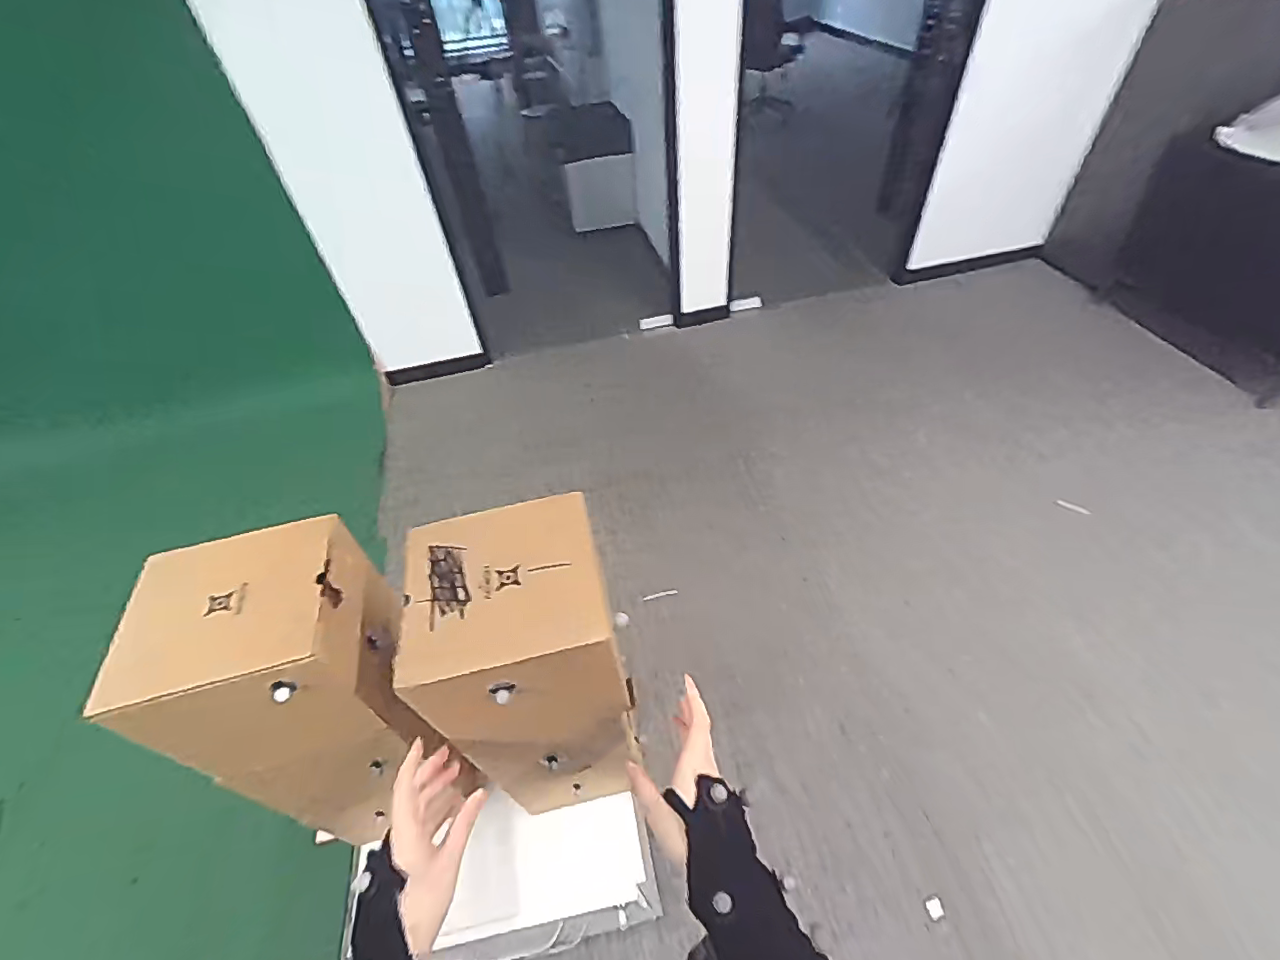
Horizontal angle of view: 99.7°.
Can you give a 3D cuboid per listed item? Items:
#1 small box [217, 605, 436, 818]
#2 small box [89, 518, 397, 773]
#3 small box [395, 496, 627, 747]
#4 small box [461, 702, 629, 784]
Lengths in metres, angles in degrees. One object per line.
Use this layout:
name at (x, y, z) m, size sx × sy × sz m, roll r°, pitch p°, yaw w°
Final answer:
small box at (-0.360, 0.284, 0.665) m, size 0.179 × 0.176 × 0.168 m, roll -15°, pitch 47°, yaw -9°
small box at (-0.370, 0.169, 0.549) m, size 0.179 × 0.176 × 0.168 m, roll -14°, pitch 47°, yaw -10°
small box at (-0.118, 0.145, 0.543) m, size 0.179 × 0.176 × 0.168 m, roll -12°, pitch 49°, yaw -5°
small box at (-0.112, 0.254, 0.667) m, size 0.168 × 0.176 × 0.179 m, roll -12°, pitch 48°, yaw -5°
